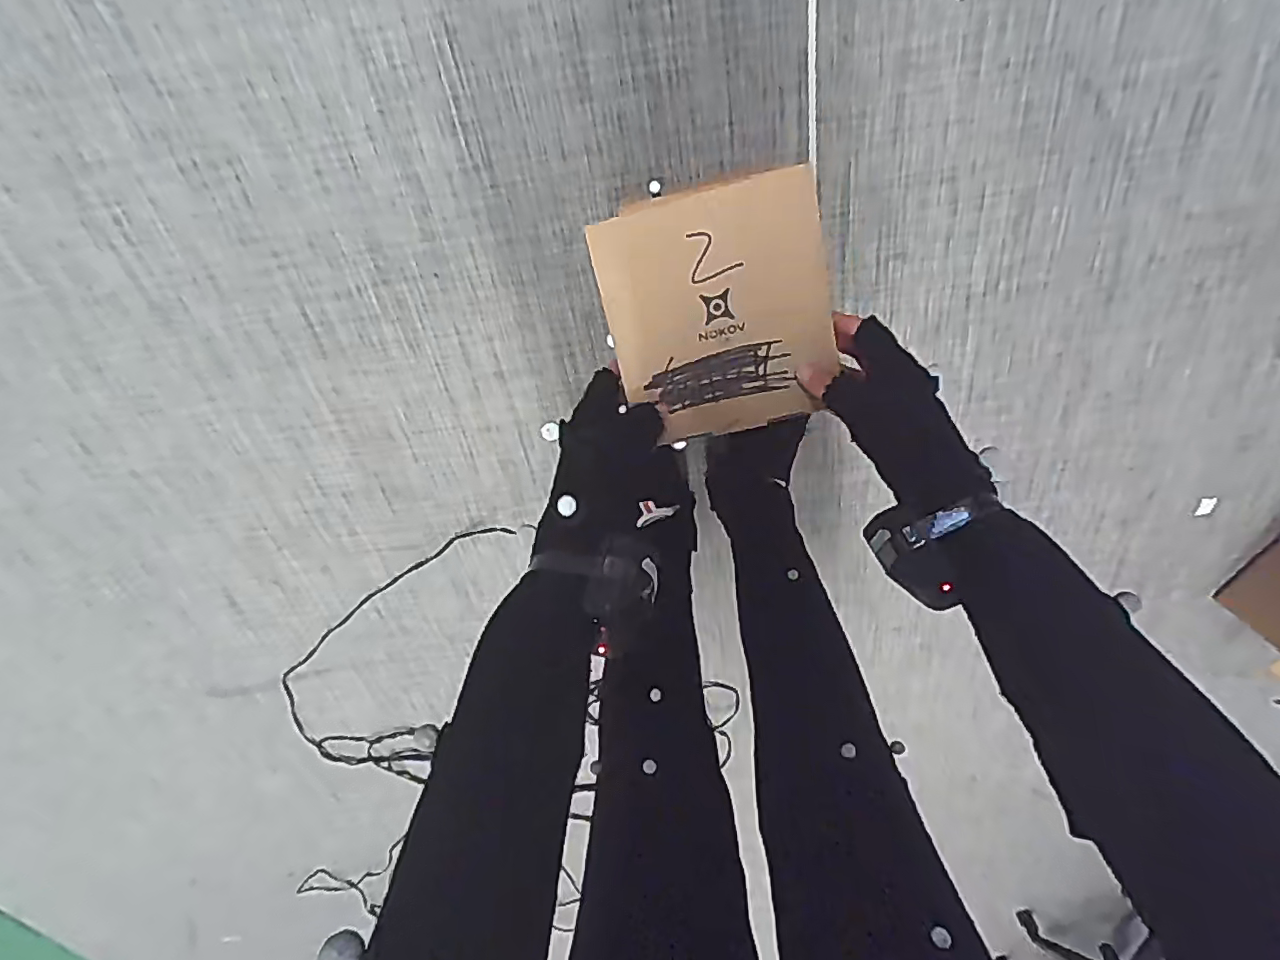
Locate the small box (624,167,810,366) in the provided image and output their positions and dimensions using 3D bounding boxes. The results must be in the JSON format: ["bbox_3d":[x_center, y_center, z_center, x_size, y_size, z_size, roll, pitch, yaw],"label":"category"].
[{"bbox_3d":[0.084,-0.252,0.626,0.179,0.176,0.168,-11,120,8],"label":"small box"}]
